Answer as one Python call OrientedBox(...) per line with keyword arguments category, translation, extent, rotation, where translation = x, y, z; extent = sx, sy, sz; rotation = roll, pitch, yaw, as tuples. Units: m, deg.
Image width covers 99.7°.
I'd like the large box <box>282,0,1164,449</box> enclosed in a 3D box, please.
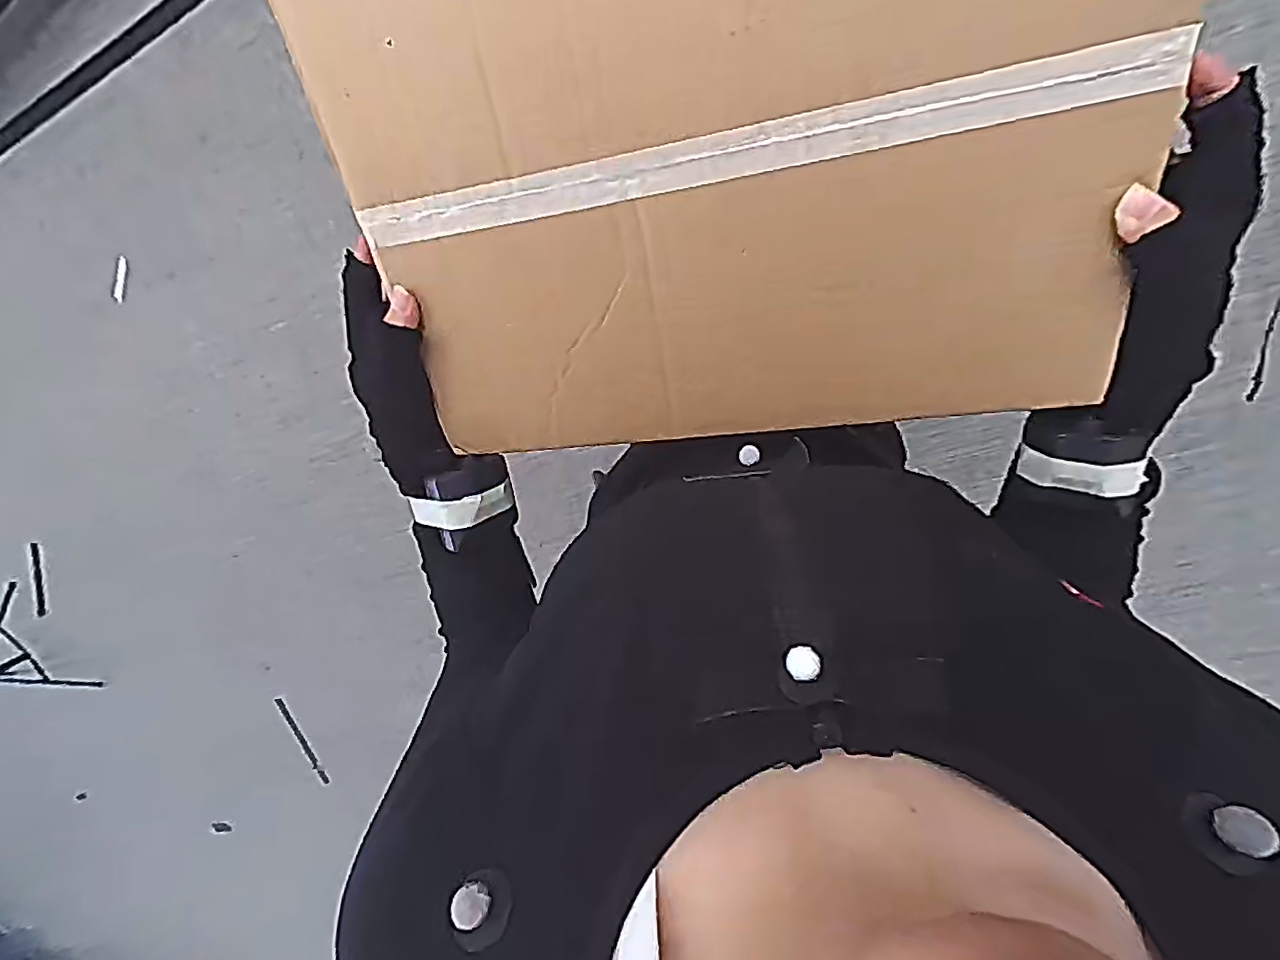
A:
OrientedBox(category="large box", translation=(0.056, -0.246, 0.406), extent=(0.408, 0.320, 0.320), rotation=(-4, 120, 14))
